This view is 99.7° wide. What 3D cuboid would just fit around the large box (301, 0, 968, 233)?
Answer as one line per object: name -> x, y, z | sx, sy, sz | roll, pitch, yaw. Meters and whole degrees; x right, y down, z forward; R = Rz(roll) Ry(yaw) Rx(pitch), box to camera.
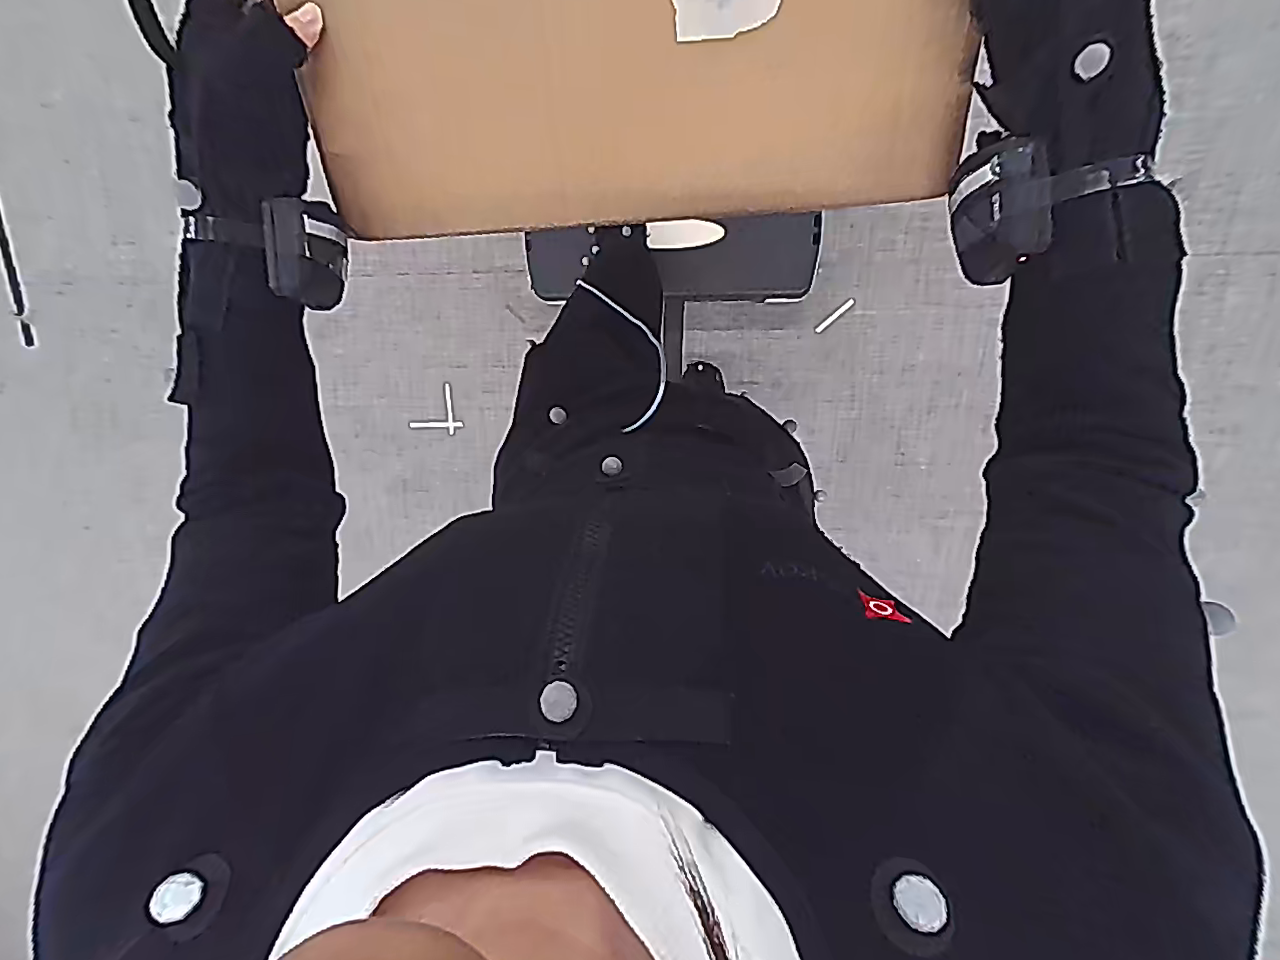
large box -> 0.000, -0.389, 0.433 | 0.408, 0.320, 0.320 | -1, 117, 9
